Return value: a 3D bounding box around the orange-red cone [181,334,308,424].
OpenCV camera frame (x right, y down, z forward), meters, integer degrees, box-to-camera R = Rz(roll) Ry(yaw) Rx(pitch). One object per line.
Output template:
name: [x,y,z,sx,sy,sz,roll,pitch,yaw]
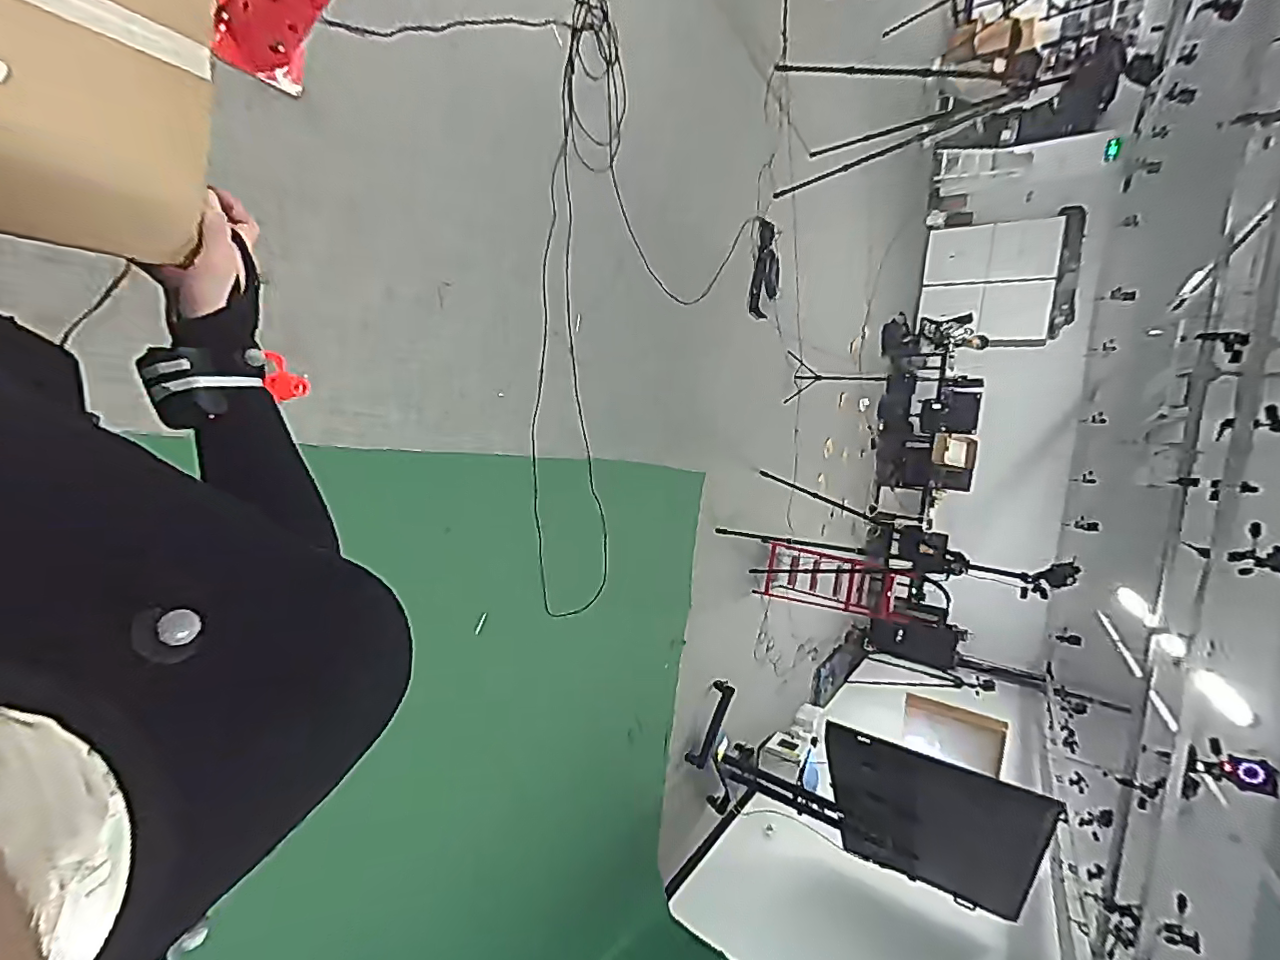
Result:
orange-red cone: [-0.905,-0.231,1.303,0.199,0.360,0.198,15,86,-58]
